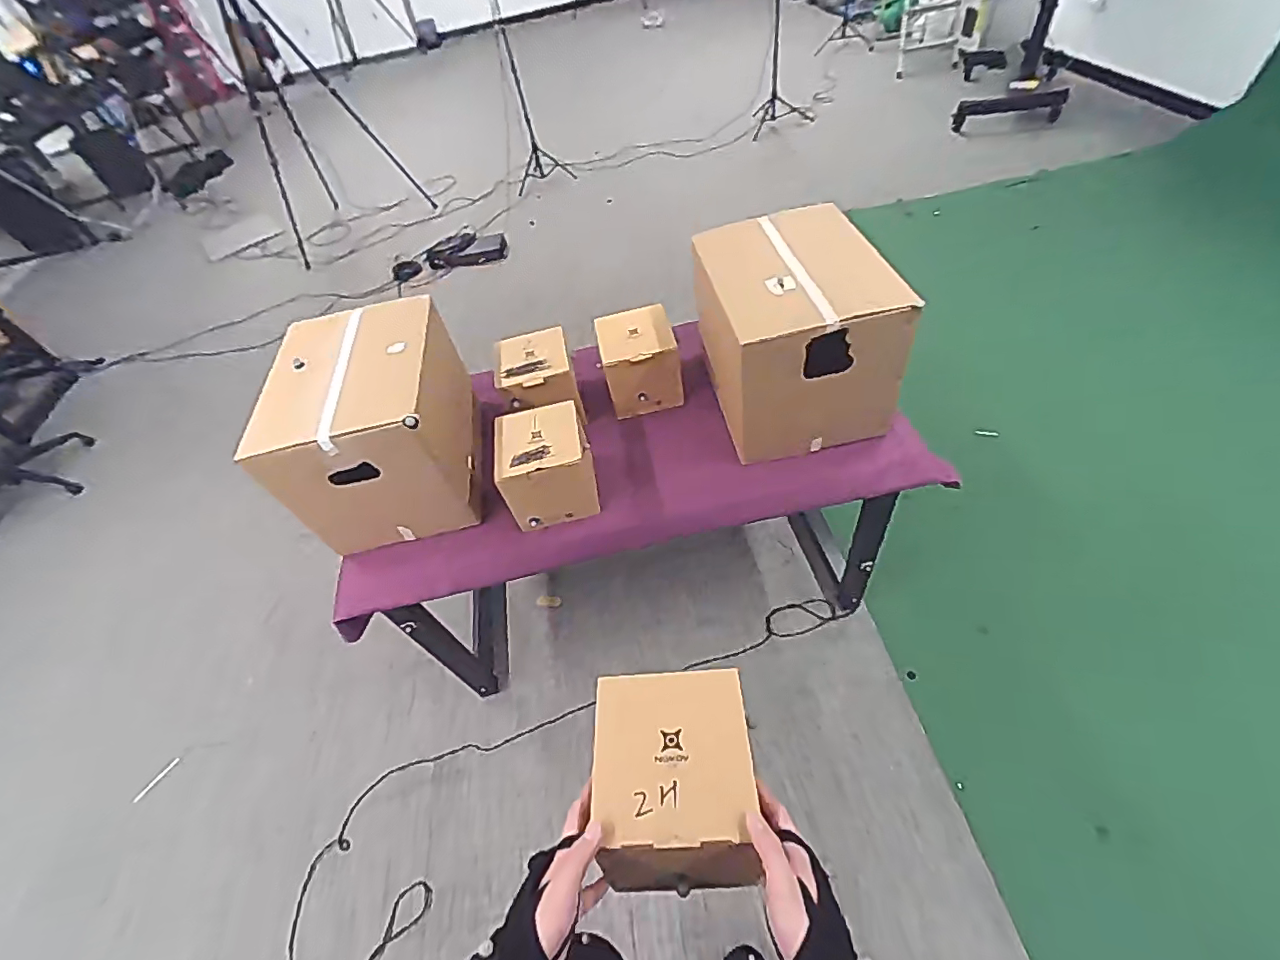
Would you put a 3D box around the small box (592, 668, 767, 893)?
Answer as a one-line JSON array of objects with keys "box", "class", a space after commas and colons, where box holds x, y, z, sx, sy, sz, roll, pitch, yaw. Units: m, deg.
[{"box": [0.043, 0.339, 0.614, 0.168, 0.176, 0.179, -5, 41, 3], "class": "small box"}]

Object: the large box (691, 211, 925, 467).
[{"box": [0.309, -0.296, 1.131, 0.320, 0.320, 0.408, -13, 50, 1], "class": "large box"}]
